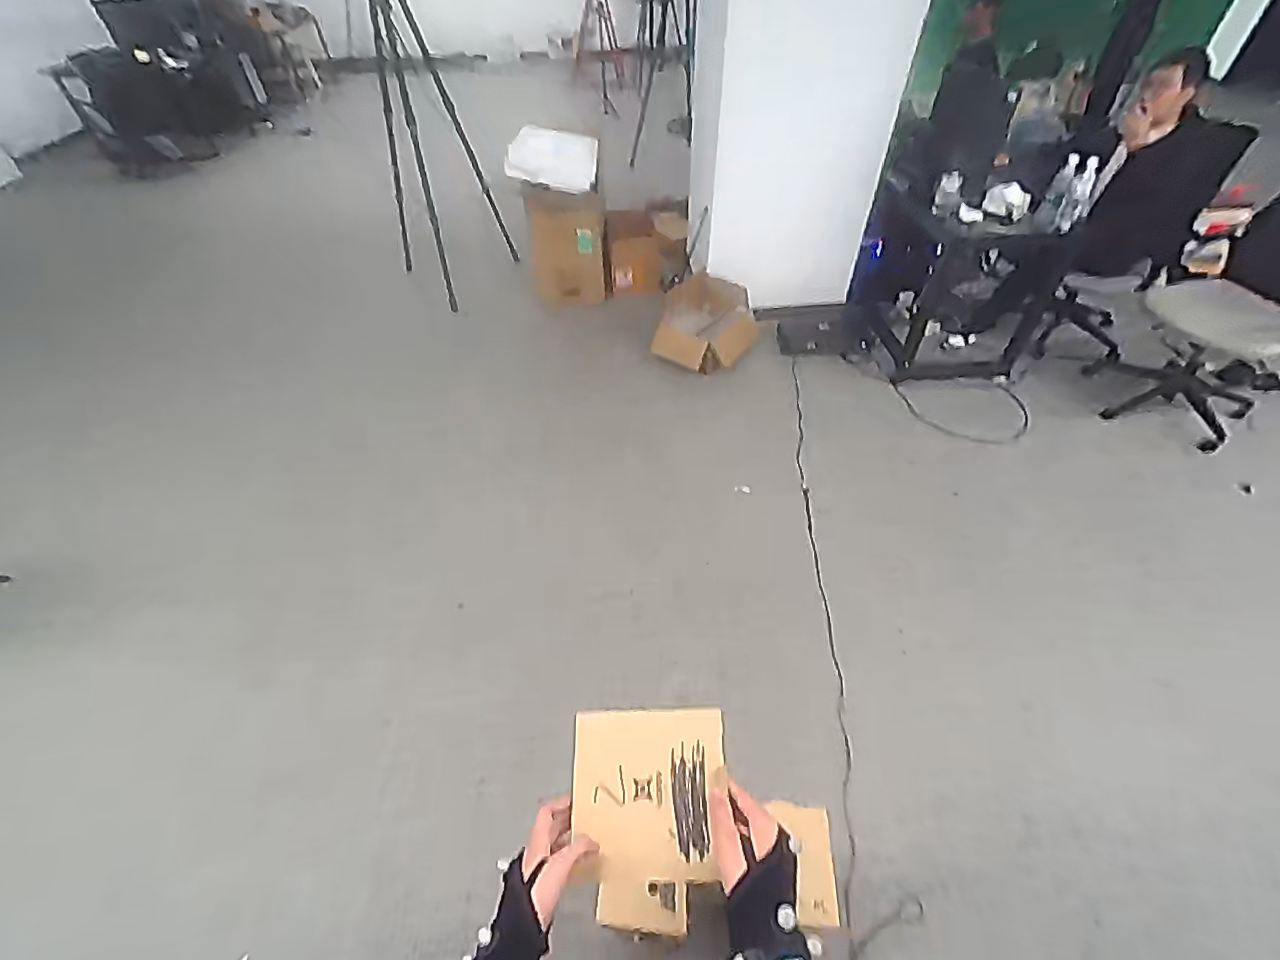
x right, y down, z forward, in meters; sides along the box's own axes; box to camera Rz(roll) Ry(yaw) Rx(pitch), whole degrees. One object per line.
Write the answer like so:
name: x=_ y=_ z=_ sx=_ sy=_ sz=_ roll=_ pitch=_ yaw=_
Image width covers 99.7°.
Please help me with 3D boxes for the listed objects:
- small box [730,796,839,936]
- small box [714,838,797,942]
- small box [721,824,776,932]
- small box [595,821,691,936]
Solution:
small box: x=0.258 y=0.721 z=1.011 sx=0.168 sy=0.176 sz=0.179 roll=4 pitch=46 yaw=6
small box: x=0.268 y=0.944 z=1.249 sx=0.168 sy=0.176 sz=0.179 roll=-3 pitch=47 yaw=0
small box: x=0.265 y=0.833 z=1.131 sx=0.179 sy=0.176 sz=0.168 roll=-2 pitch=46 yaw=1
small box: x=0.012 y=0.835 z=1.131 sx=0.179 sy=0.176 sz=0.168 roll=3 pitch=47 yaw=6
